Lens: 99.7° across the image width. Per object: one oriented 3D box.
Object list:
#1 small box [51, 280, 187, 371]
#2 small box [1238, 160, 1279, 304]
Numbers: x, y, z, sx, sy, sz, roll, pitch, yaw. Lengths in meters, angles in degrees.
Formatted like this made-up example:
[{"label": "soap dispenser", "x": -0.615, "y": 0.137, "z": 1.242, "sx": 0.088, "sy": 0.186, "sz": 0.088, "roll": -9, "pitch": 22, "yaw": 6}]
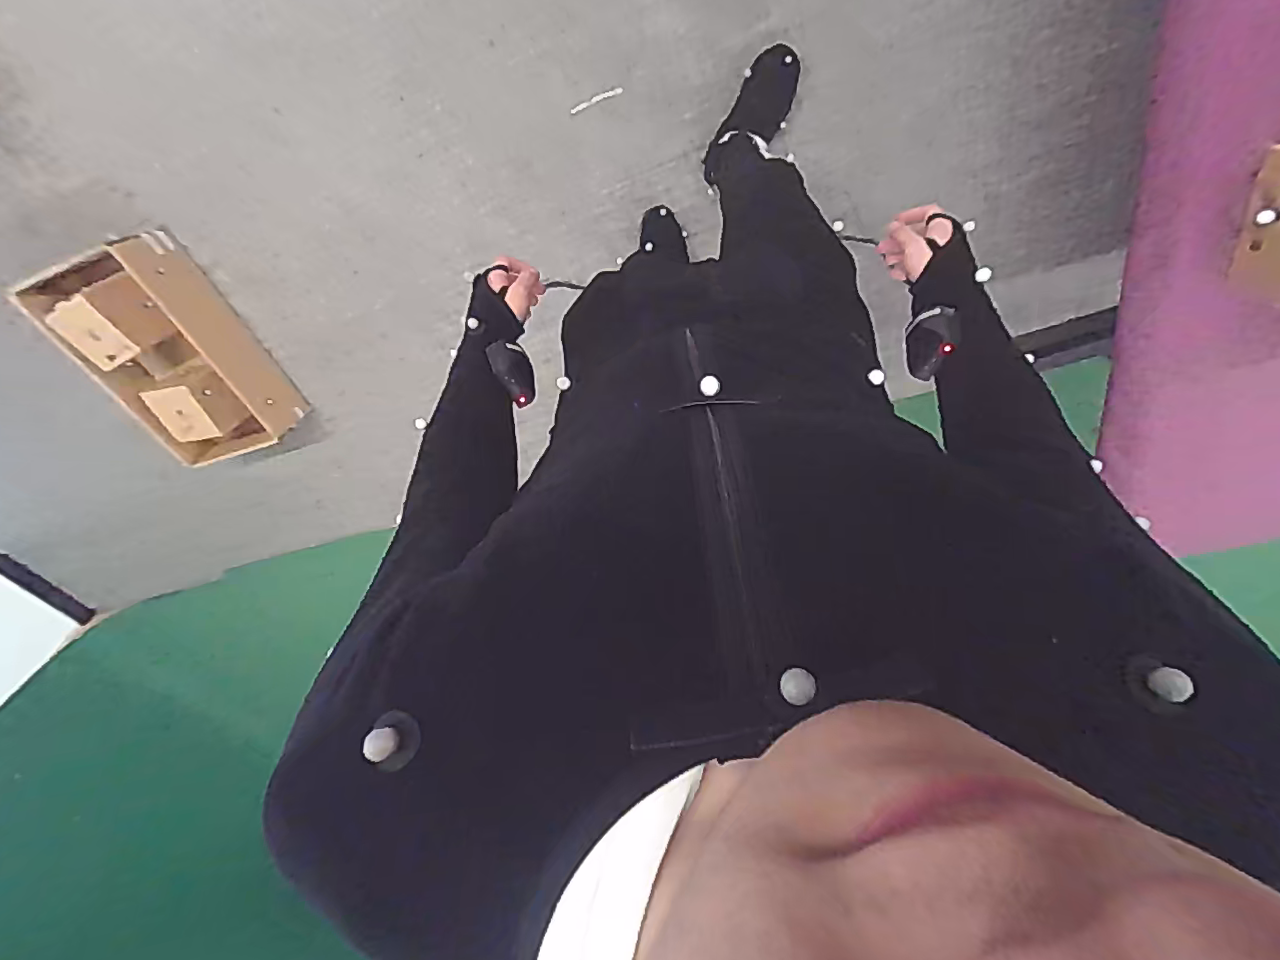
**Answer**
[{"label": "small box", "x": -1.448, "y": -0.441, "z": 1.516, "sx": 0.168, "sy": 0.176, "sz": 0.179, "roll": -18, "pitch": 125, "yaw": 18}, {"label": "small box", "x": 0.796, "y": -0.271, "z": 0.547, "sx": 0.179, "sy": 0.176, "sz": 0.168, "roll": -13, "pitch": 125, "yaw": 15}]
